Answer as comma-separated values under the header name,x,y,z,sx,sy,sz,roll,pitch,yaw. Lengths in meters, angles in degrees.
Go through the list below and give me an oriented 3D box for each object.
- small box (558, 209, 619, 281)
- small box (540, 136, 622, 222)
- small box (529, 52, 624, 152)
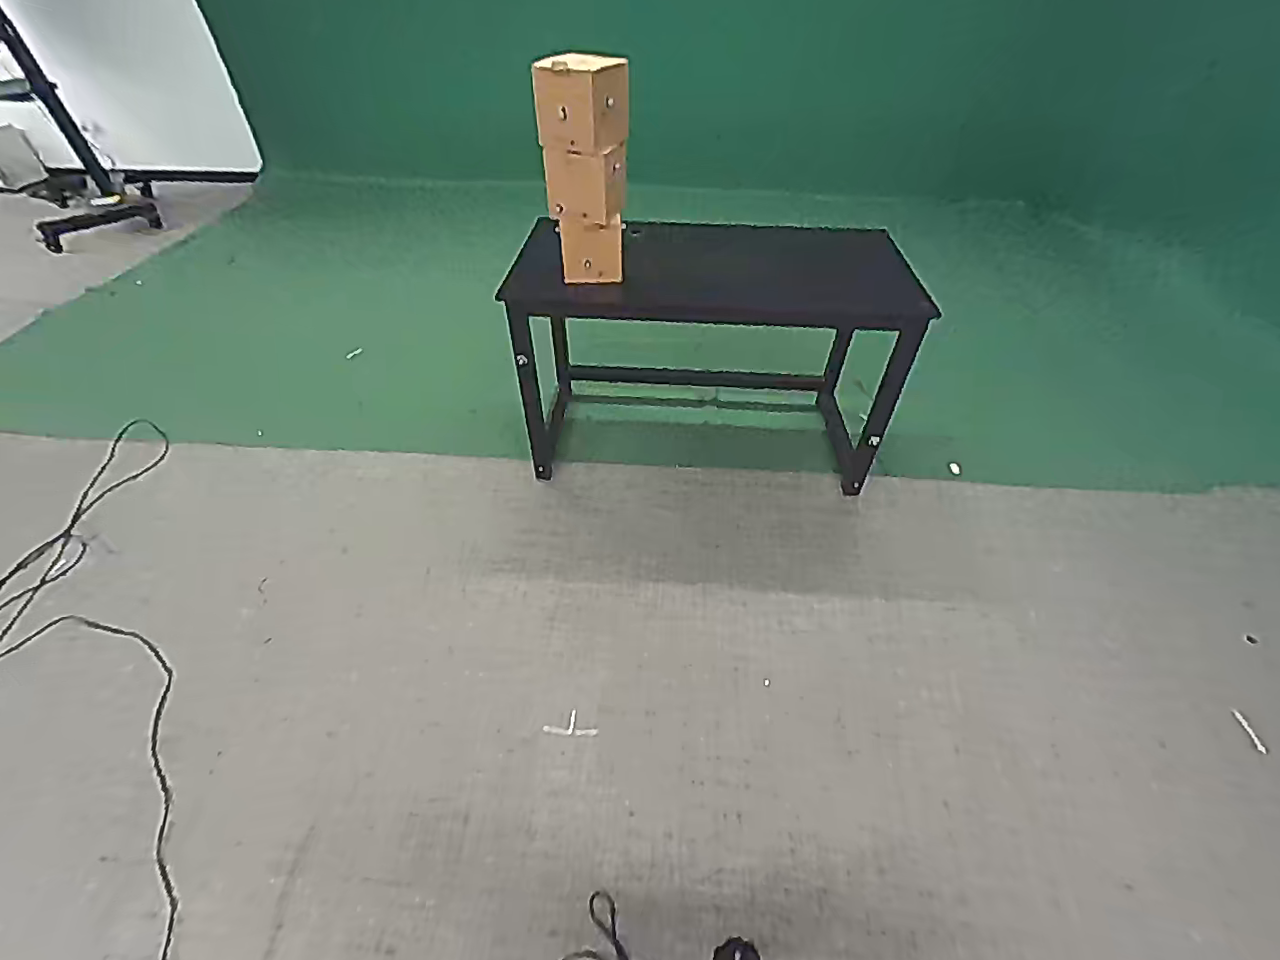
name,x,y,z,sx,sy,sz,roll,pitch,yaw
small box,-0.146,-0.693,1.559,0.168,0.176,0.179,-3,46,-4
small box,-0.148,-0.809,1.443,0.168,0.176,0.179,13,46,11
small box,-0.148,-0.930,1.331,0.168,0.176,0.179,21,50,18
